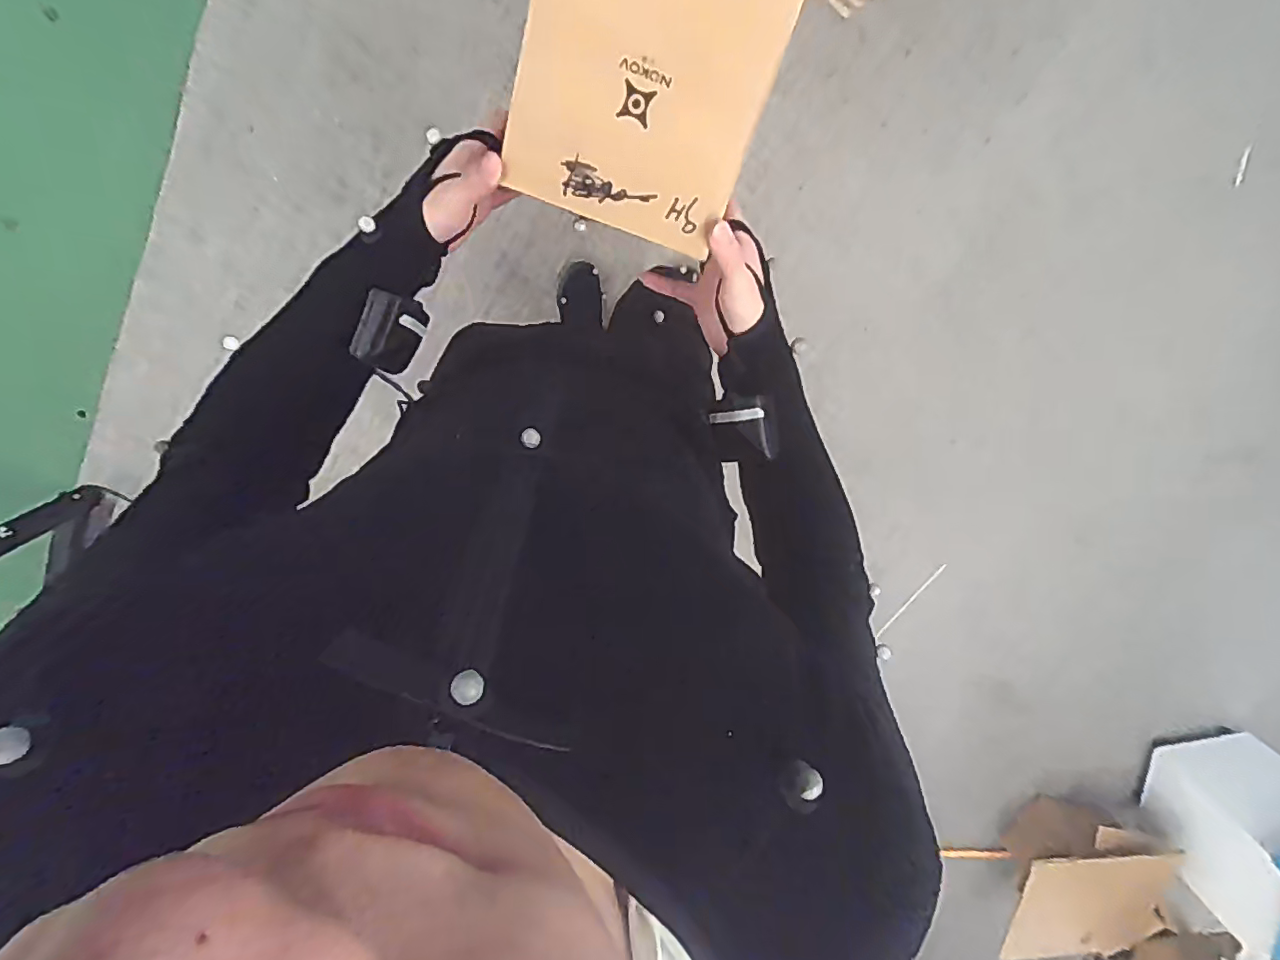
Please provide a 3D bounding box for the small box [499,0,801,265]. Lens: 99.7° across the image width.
[{"bbox_3d":[0.000,-0.299,0.442,0.168,0.176,0.179,17,115,-9],"label":"small box"}]
